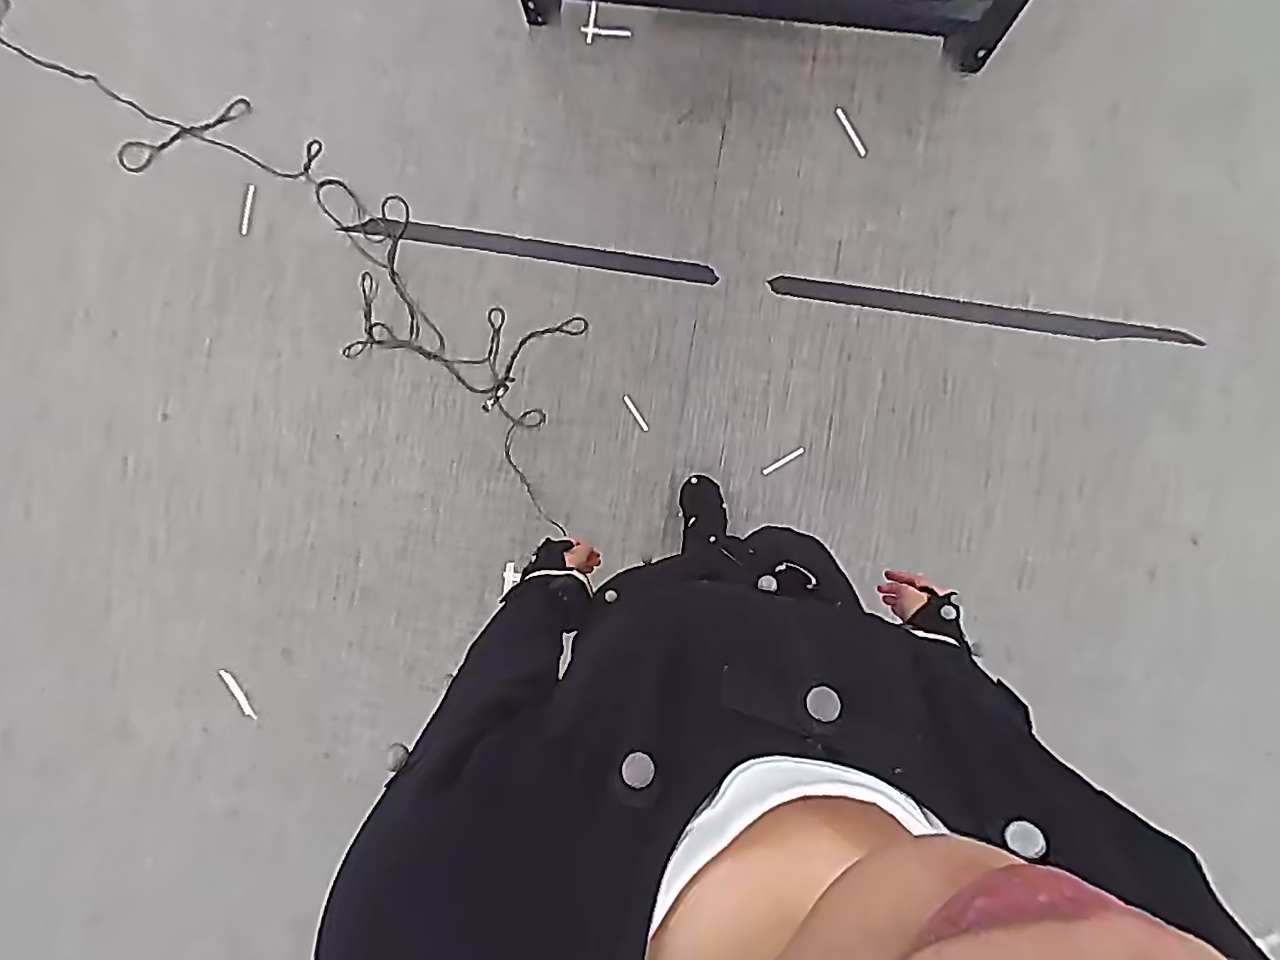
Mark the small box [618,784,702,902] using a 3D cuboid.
[{"bbox_3d":[0.050,0.869,1.313,0.179,0.176,0.168,7,89,3],"label":"small box"}]
